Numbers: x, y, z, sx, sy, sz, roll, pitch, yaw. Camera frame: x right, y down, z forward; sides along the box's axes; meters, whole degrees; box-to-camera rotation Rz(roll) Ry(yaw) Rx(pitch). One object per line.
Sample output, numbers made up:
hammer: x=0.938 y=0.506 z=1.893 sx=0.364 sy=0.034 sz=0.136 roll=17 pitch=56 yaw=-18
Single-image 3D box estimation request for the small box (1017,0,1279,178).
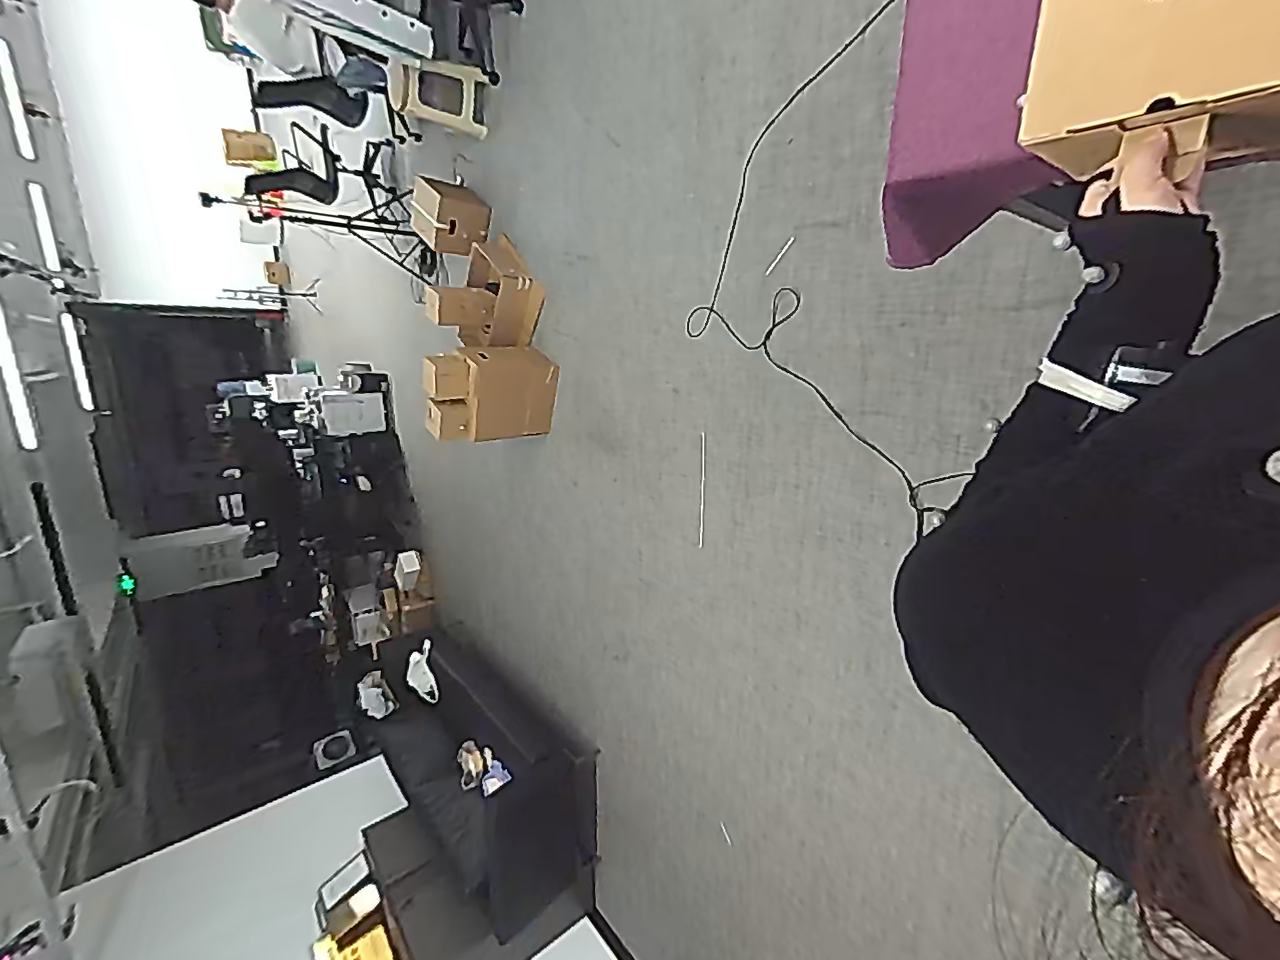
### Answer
small box: x=0.419 y=-0.350 z=0.406 sx=0.168 sy=0.176 sz=0.179 roll=18 pitch=115 yaw=48
